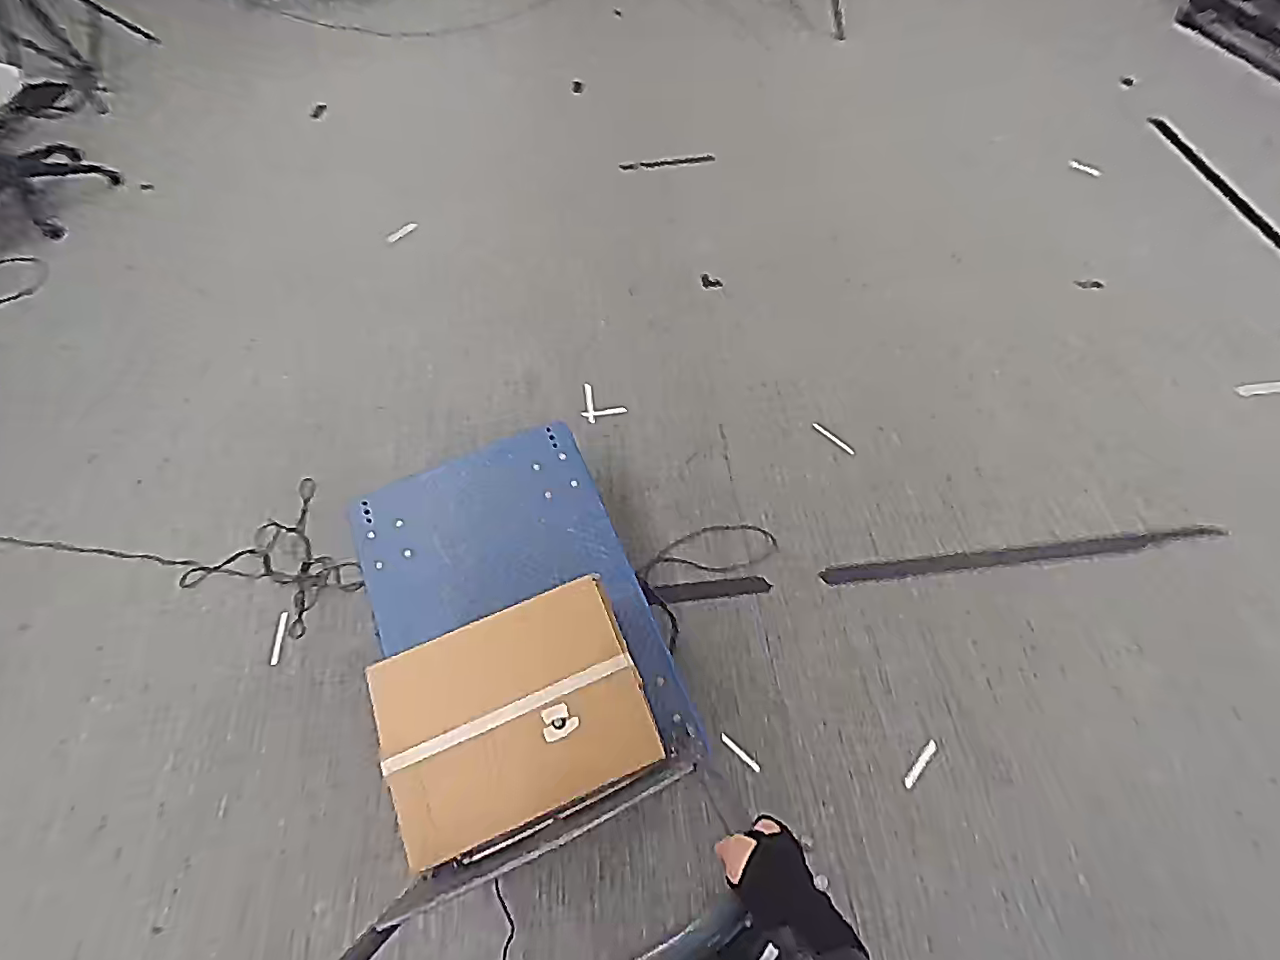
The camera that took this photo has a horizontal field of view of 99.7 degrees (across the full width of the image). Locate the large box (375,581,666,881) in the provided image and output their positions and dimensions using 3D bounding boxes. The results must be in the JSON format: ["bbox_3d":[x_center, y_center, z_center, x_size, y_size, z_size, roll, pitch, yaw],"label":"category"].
[{"bbox_3d":[-0.197,0.439,1.000,0.408,0.320,0.320,-22,69,-9],"label":"large box"}]
